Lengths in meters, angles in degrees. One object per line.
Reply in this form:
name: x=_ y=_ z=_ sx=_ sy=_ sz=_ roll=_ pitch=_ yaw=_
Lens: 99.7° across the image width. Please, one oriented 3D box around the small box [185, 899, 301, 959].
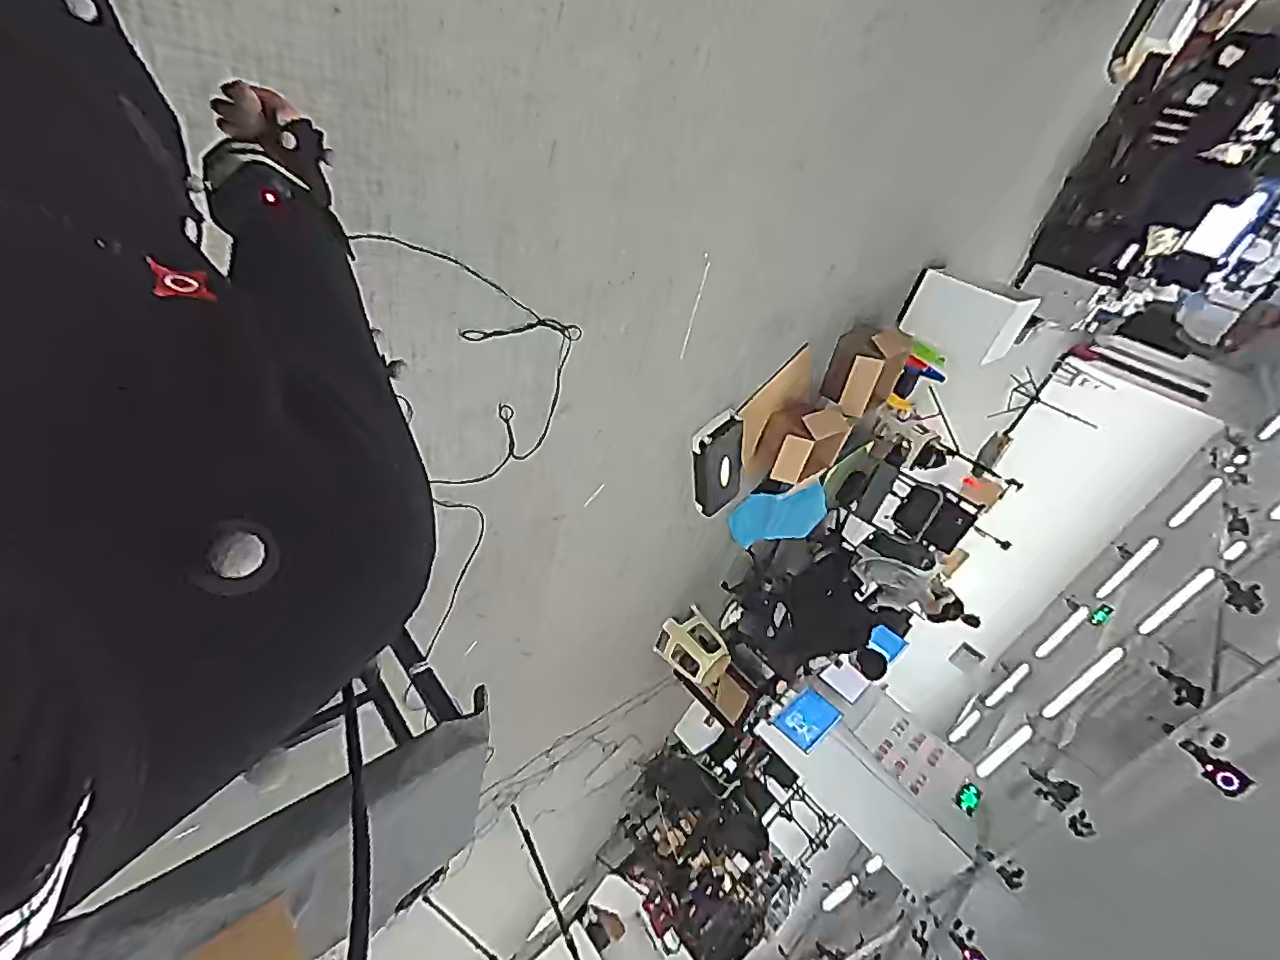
small box: x=-0.802 y=1.008 z=1.086 sx=0.179 sy=0.176 sz=0.168 roll=-12 pitch=134 yaw=-47
